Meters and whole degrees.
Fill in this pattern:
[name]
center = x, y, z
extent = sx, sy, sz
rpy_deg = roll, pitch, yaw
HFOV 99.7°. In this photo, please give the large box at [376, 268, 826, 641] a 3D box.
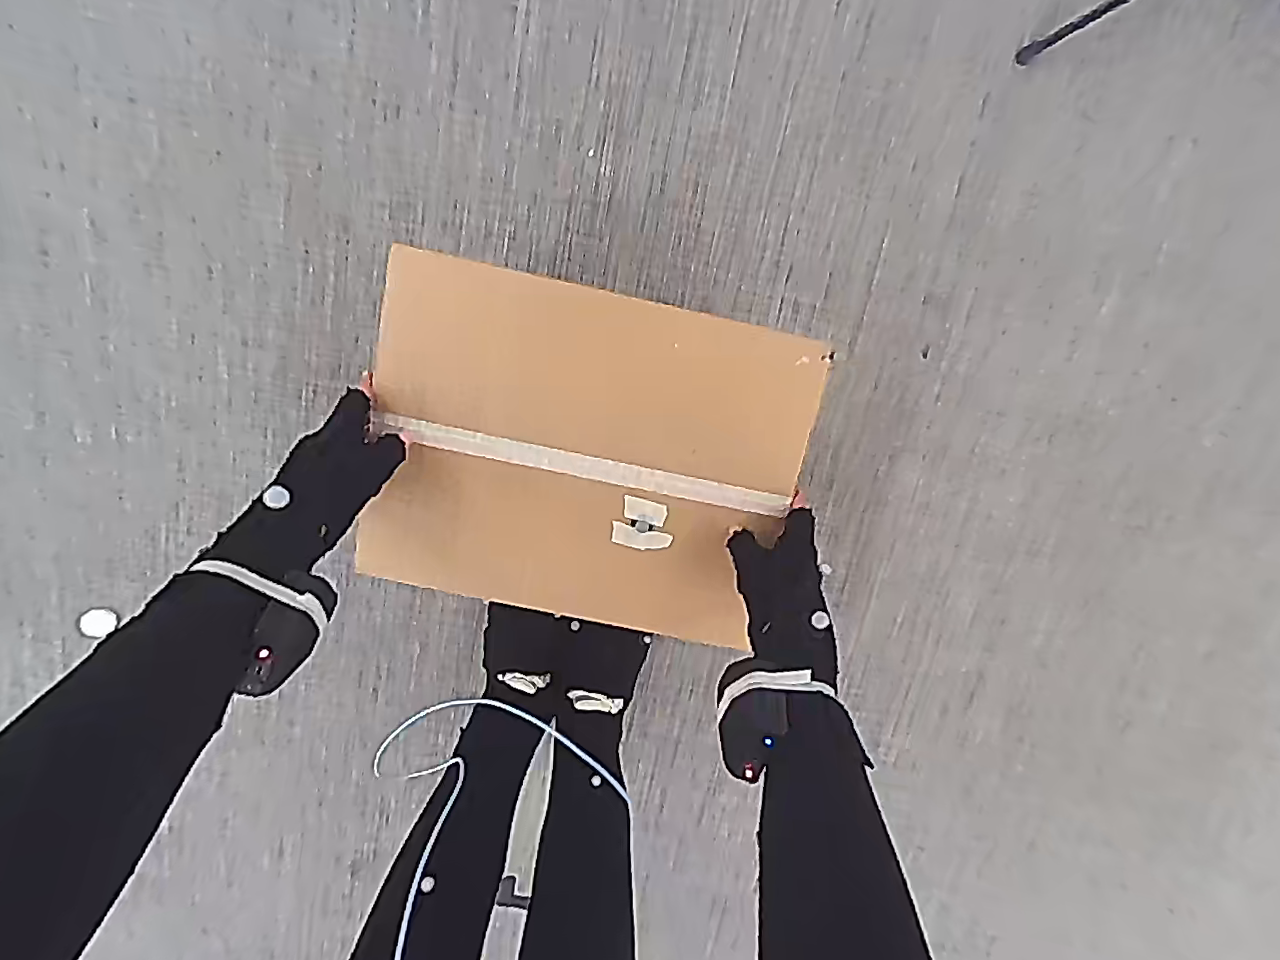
[large box]
center = -0.049, -0.041, 0.674
extent = 0.408, 0.320, 0.320
rpy_deg = 12, 102, -3
